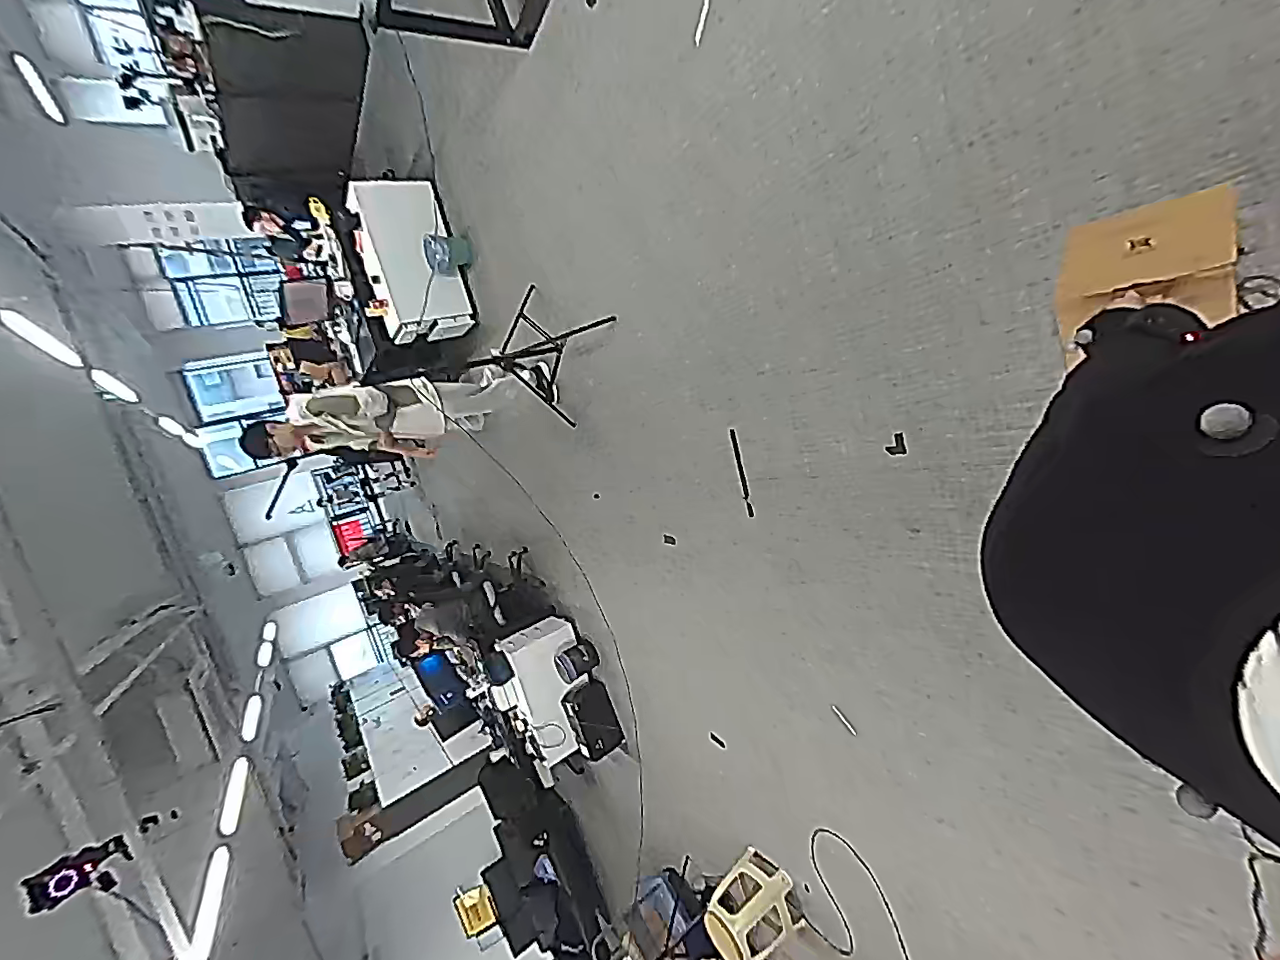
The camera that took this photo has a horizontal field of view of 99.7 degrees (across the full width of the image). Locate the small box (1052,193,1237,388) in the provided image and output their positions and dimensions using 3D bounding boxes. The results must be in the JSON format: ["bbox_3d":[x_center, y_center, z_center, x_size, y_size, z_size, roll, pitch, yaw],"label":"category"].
[{"bbox_3d":[0.690,-0.241,0.737,0.168,0.179,0.176,-1,138,47],"label":"small box"}]
